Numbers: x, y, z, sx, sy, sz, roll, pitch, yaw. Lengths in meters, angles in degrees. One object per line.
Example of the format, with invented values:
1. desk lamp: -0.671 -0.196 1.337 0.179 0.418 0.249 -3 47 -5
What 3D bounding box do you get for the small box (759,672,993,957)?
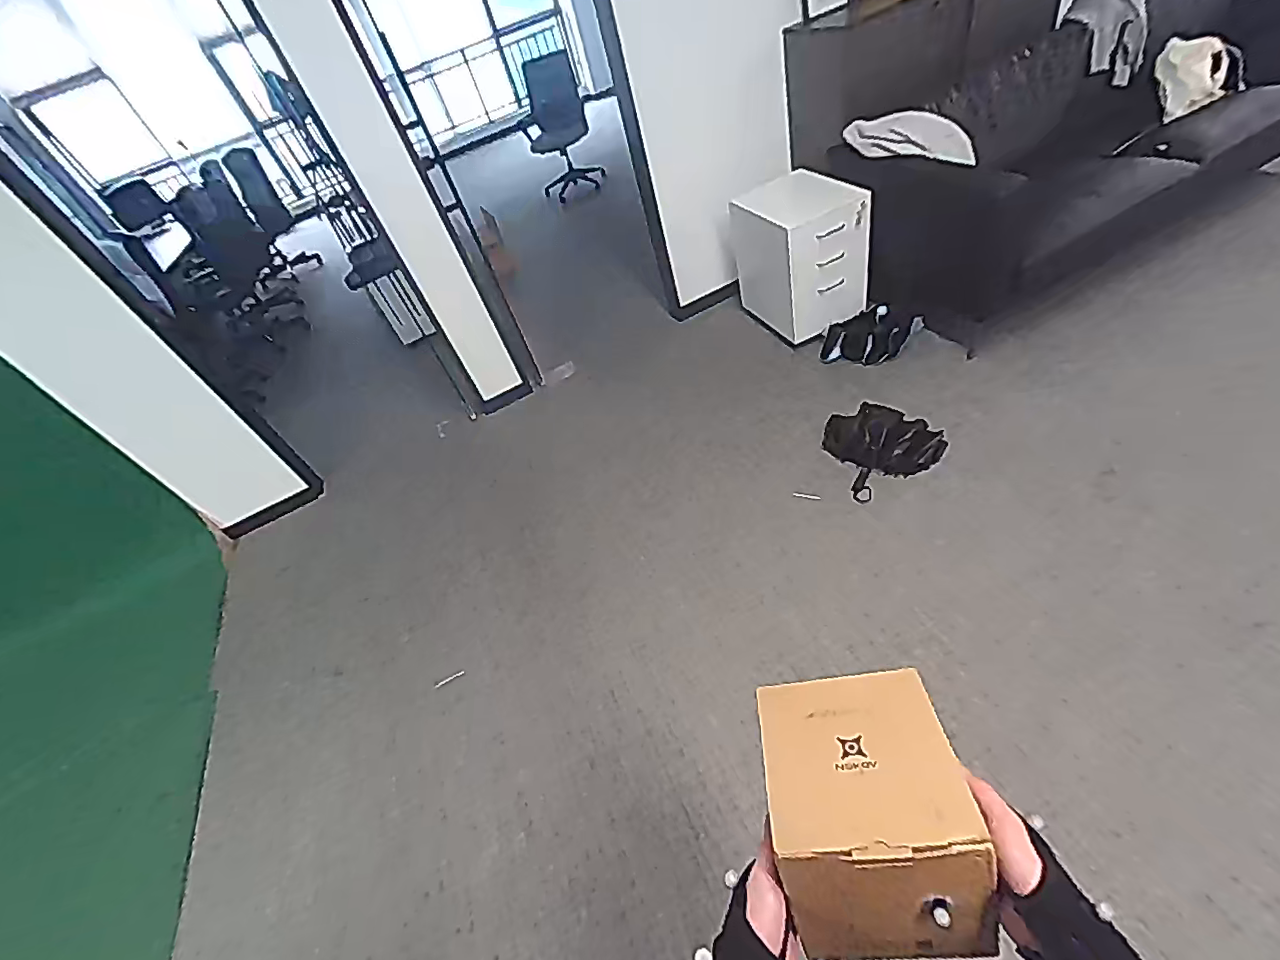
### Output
1. small box: 0.219 0.321 0.524 0.168 0.176 0.179 -11 23 12
